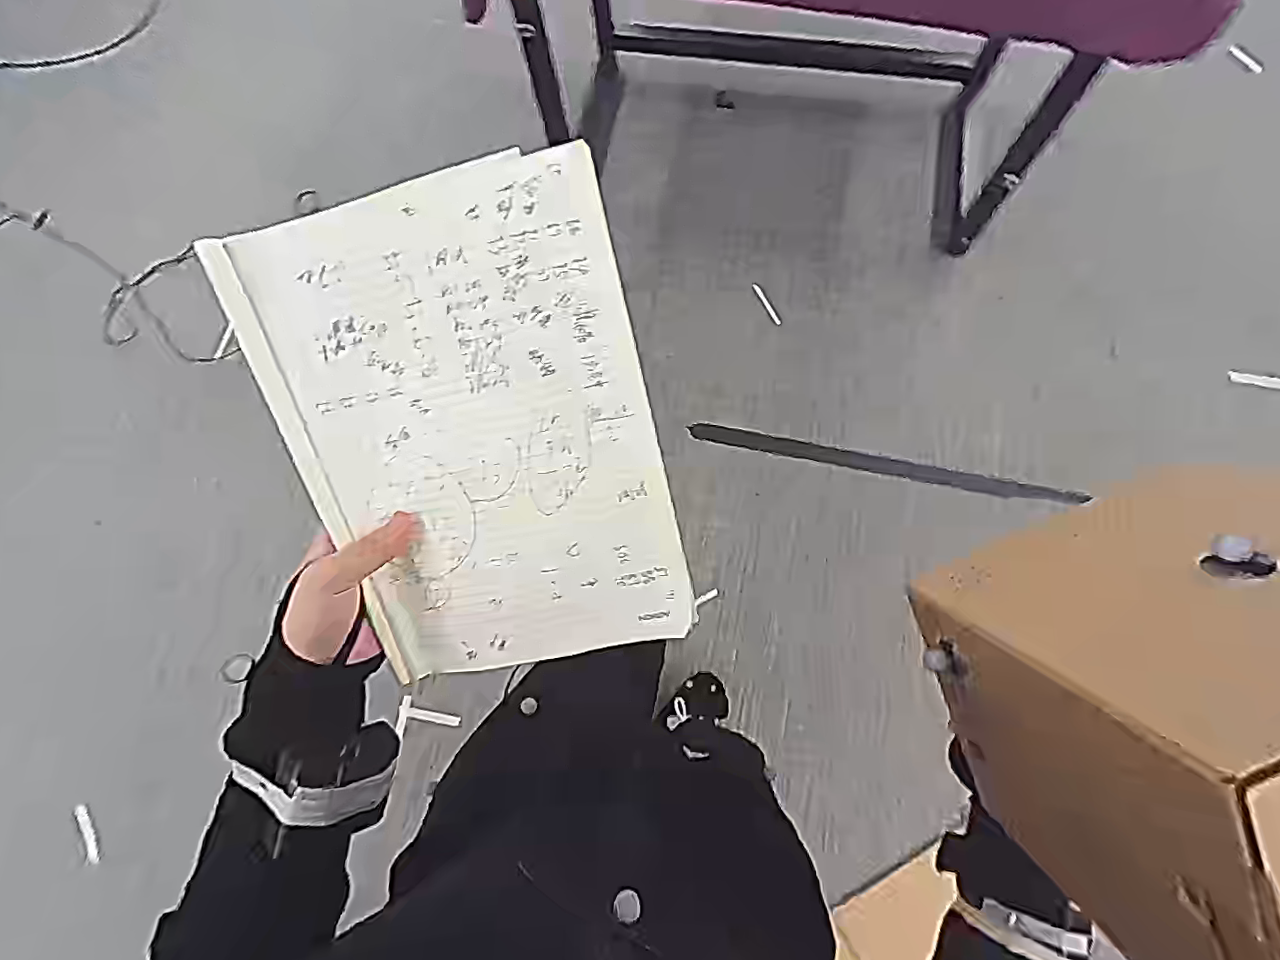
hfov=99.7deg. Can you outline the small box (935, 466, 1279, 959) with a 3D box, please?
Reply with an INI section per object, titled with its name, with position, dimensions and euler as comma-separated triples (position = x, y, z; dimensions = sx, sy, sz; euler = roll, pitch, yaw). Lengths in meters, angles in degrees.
[small box]
position = 0.269, 0.107, 0.245
dimensions = 0.179, 0.176, 0.168
euler = -25, 100, -1
